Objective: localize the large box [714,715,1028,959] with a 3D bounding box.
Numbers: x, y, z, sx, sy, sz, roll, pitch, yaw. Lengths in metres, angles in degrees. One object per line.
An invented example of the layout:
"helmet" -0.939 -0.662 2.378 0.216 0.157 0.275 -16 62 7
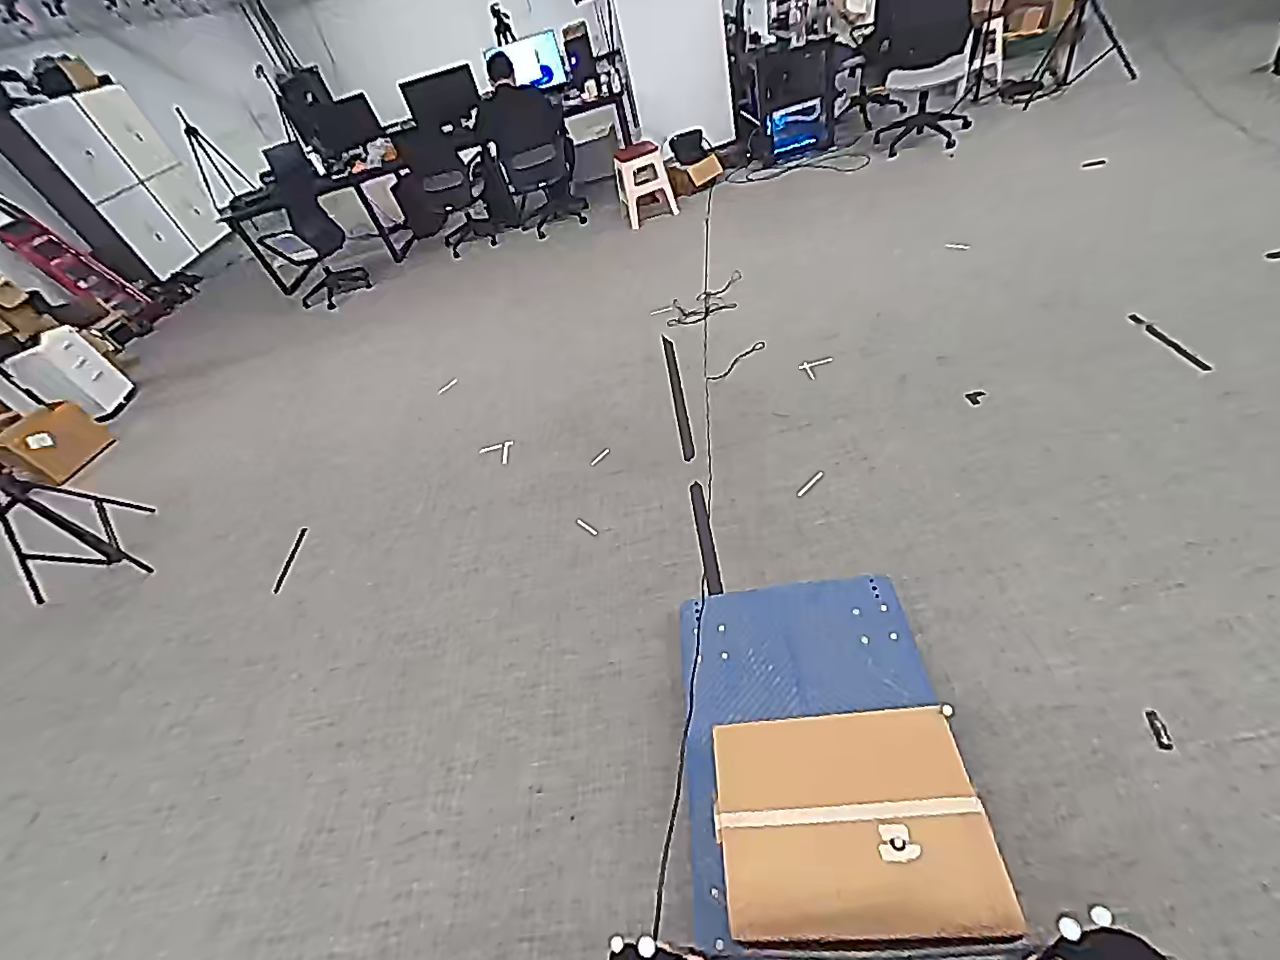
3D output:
"large box" 0.363 0.651 0.959 0.408 0.320 0.320 -10 44 10
